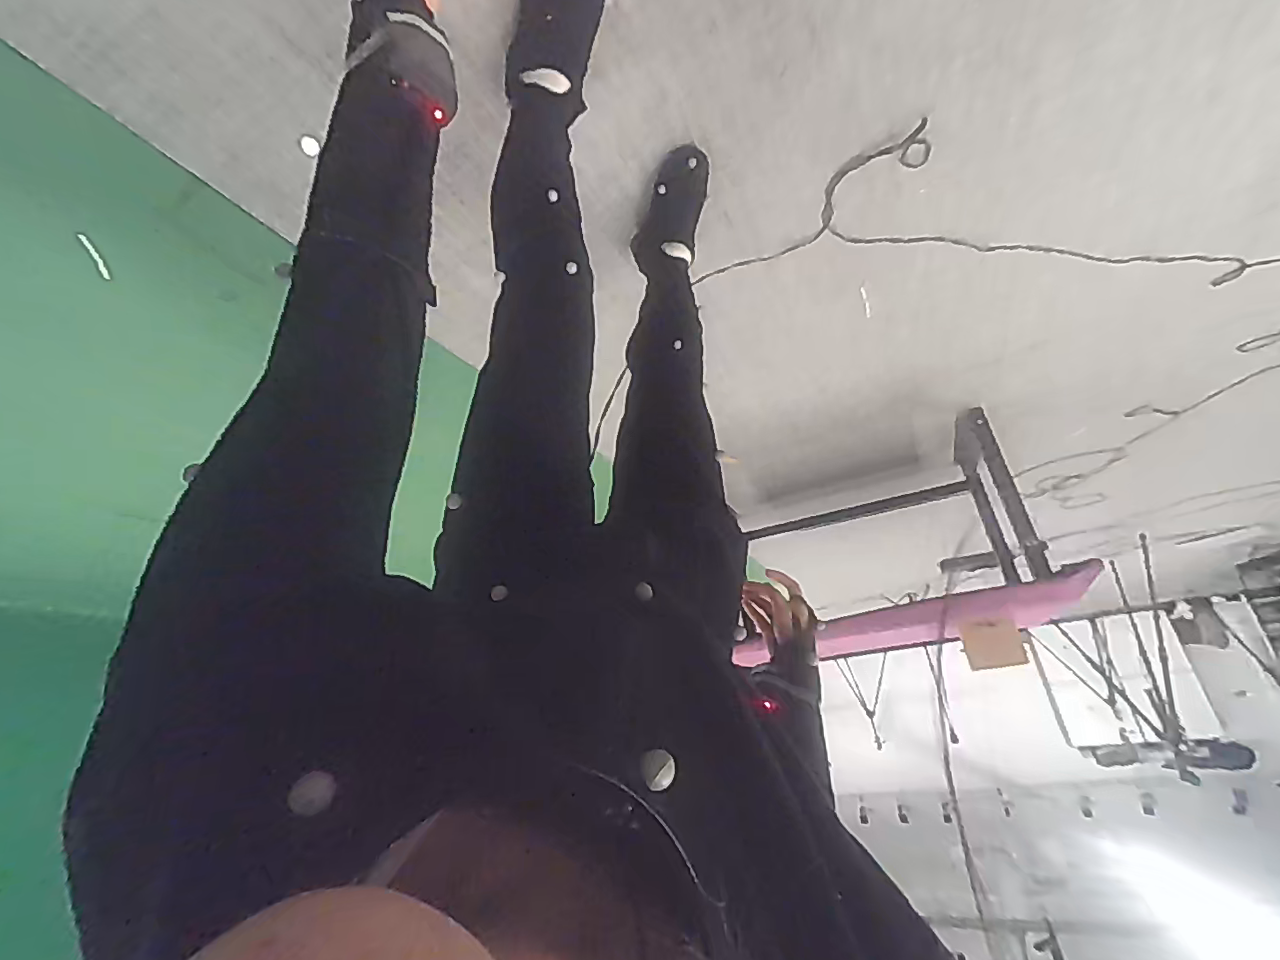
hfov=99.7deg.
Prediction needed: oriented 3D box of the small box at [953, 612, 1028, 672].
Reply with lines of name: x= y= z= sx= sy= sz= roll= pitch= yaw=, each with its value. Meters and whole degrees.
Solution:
small box: x=1.181 y=0.551 z=1.832 sx=0.168 sy=0.176 sz=0.179 roll=-18 pitch=152 yaw=23
